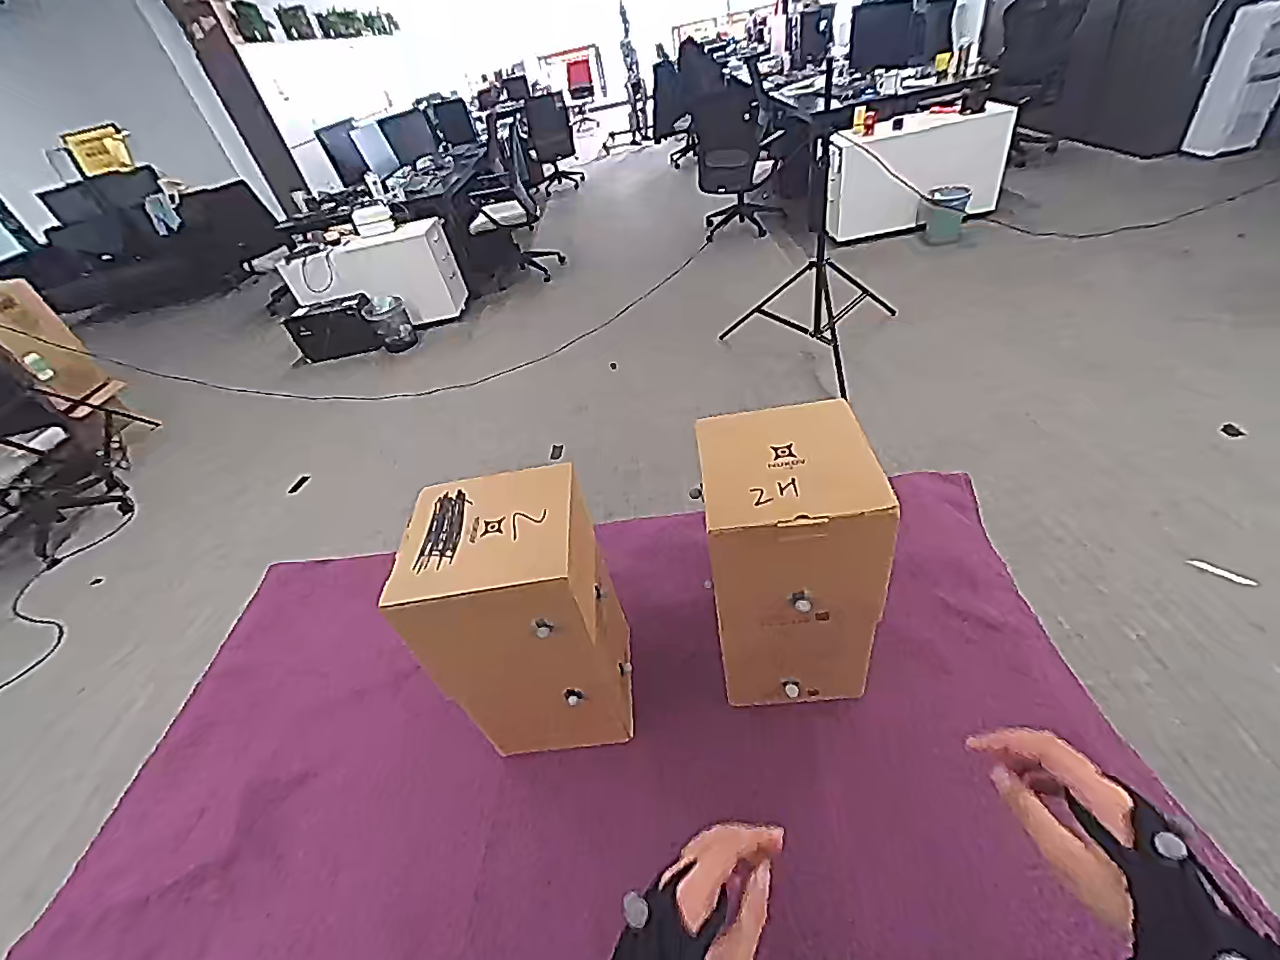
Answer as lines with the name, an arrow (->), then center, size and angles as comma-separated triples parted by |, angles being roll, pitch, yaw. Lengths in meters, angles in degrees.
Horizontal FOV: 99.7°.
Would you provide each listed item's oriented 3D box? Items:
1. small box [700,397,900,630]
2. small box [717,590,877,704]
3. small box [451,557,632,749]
small box -> 0.157, 0.036, 0.581 | 0.168, 0.176, 0.179 | -8, 41, 8
small box -> 0.184, 0.159, 0.688 | 0.168, 0.176, 0.179 | -7, 41, 8
small box -> -0.112, 0.226, 0.696 | 0.179, 0.176, 0.168 | -9, 40, 4
